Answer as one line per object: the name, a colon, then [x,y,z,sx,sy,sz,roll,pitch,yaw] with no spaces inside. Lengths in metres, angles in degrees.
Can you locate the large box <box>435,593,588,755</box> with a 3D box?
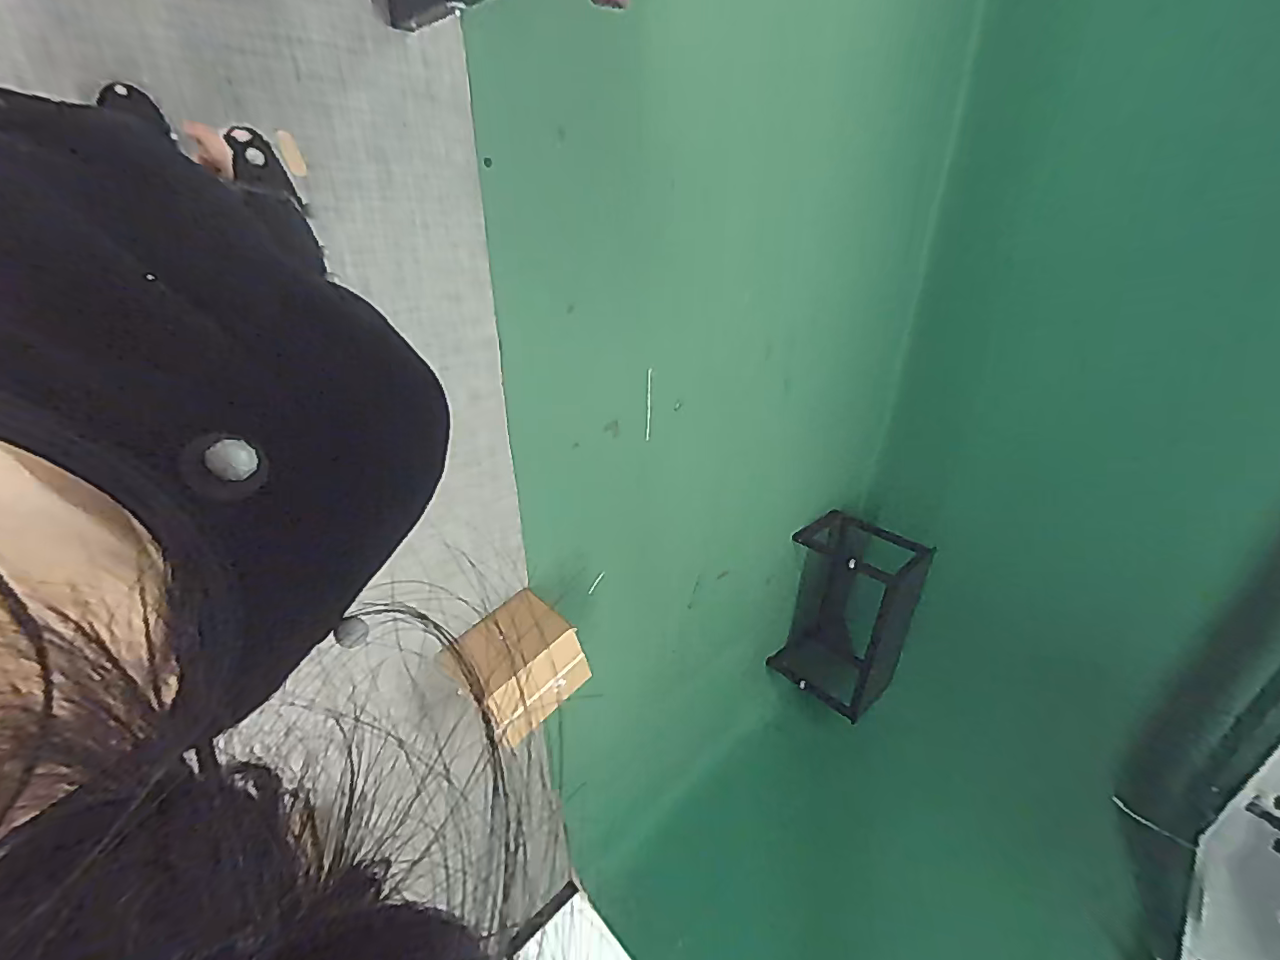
large box: [-0.469,0.708,2.014,0.408,0.320,0.320,-37,134,-30]
